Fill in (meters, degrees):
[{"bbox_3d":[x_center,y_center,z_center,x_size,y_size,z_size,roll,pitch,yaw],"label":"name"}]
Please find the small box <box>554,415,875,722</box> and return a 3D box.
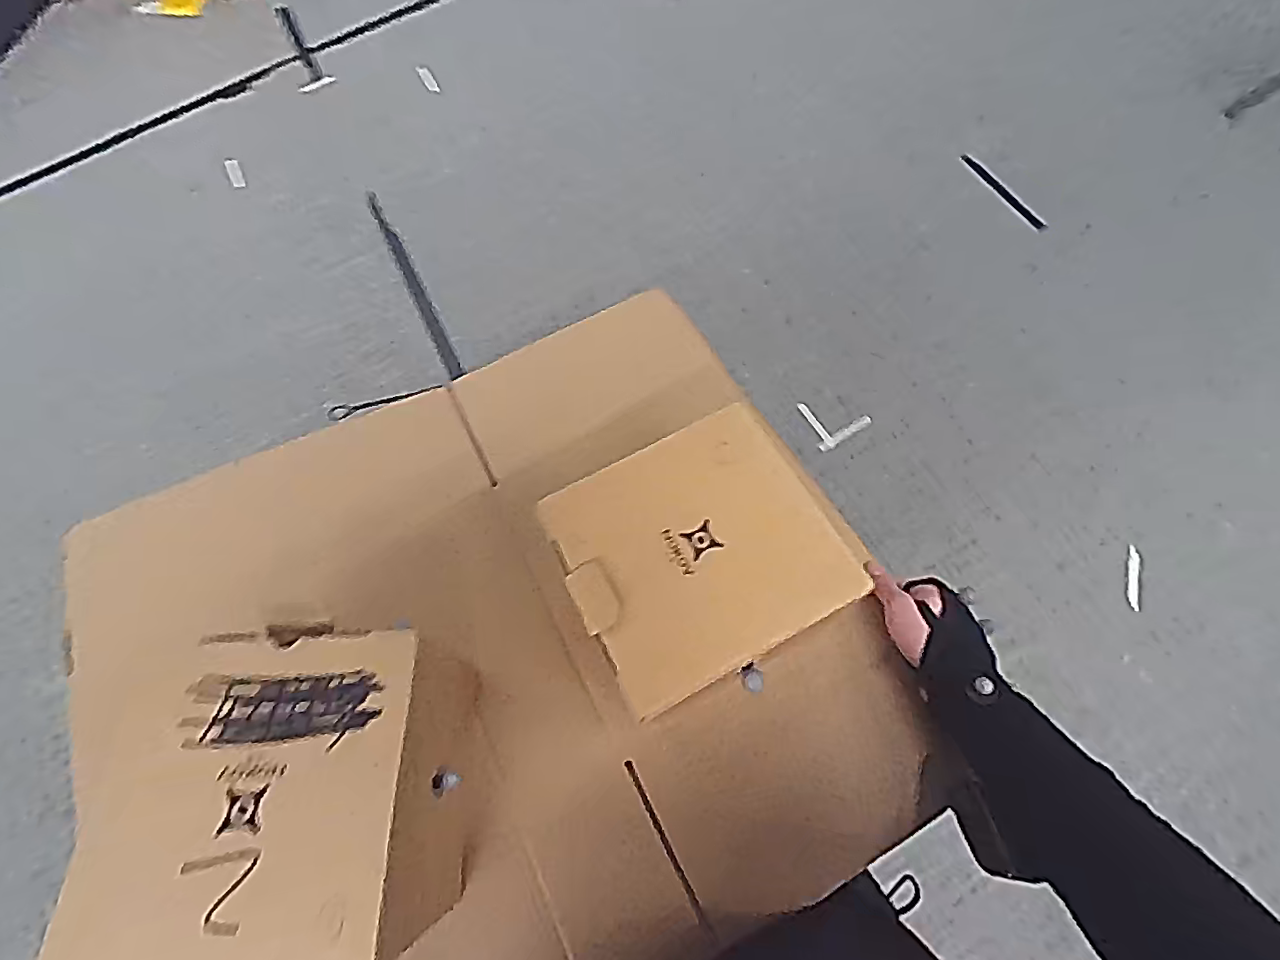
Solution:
[{"bbox_3d":[0.052,0.082,0.454,0.179,0.176,0.168,-27,66,-7],"label":"small box"}]
